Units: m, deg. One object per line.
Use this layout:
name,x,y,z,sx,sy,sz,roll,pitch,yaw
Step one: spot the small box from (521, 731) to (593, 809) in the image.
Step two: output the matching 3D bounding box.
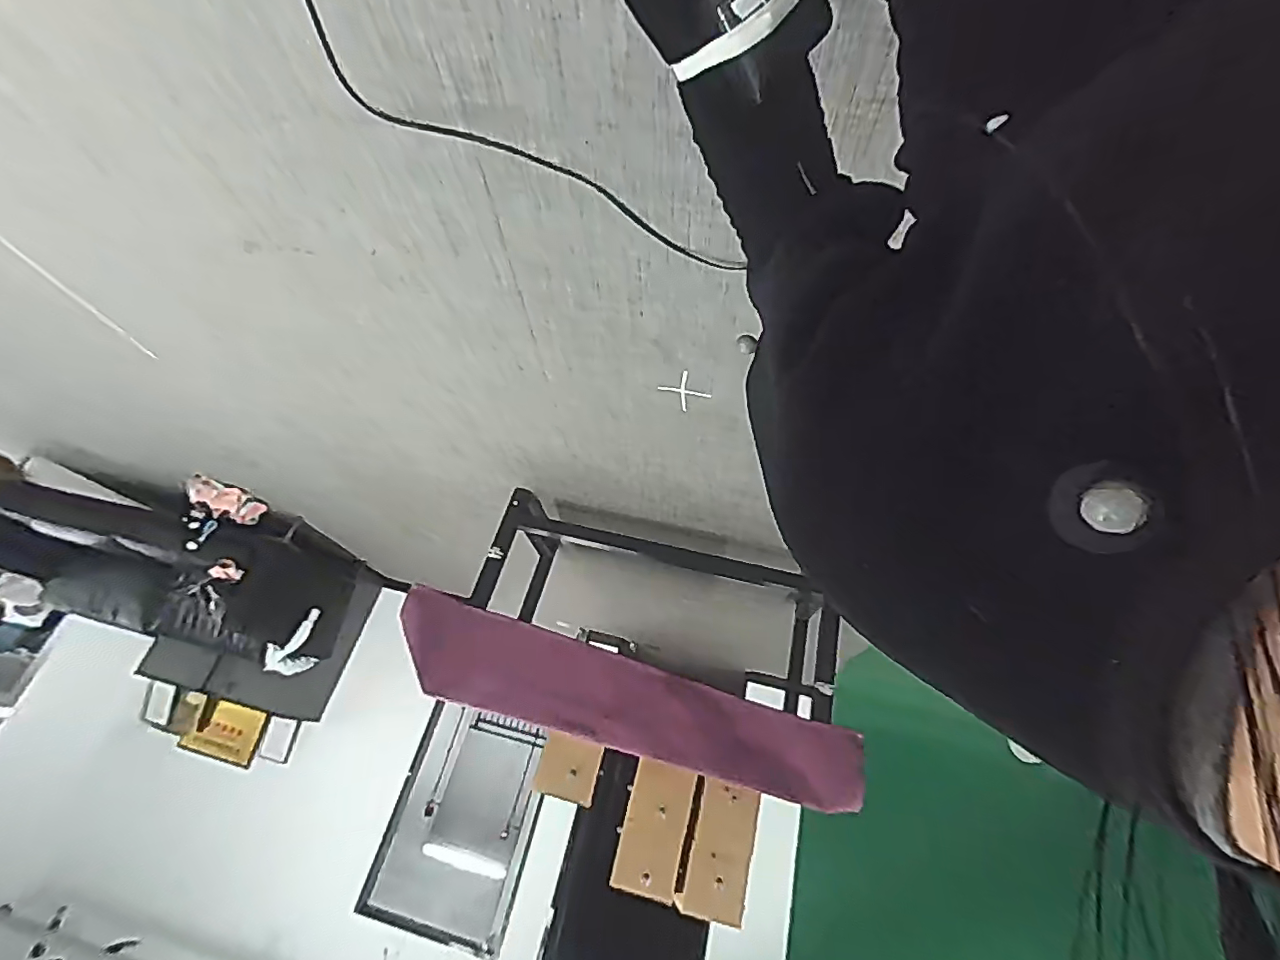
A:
small box,-0.245,0.874,1.640,0.179,0.176,0.168,15,153,1
